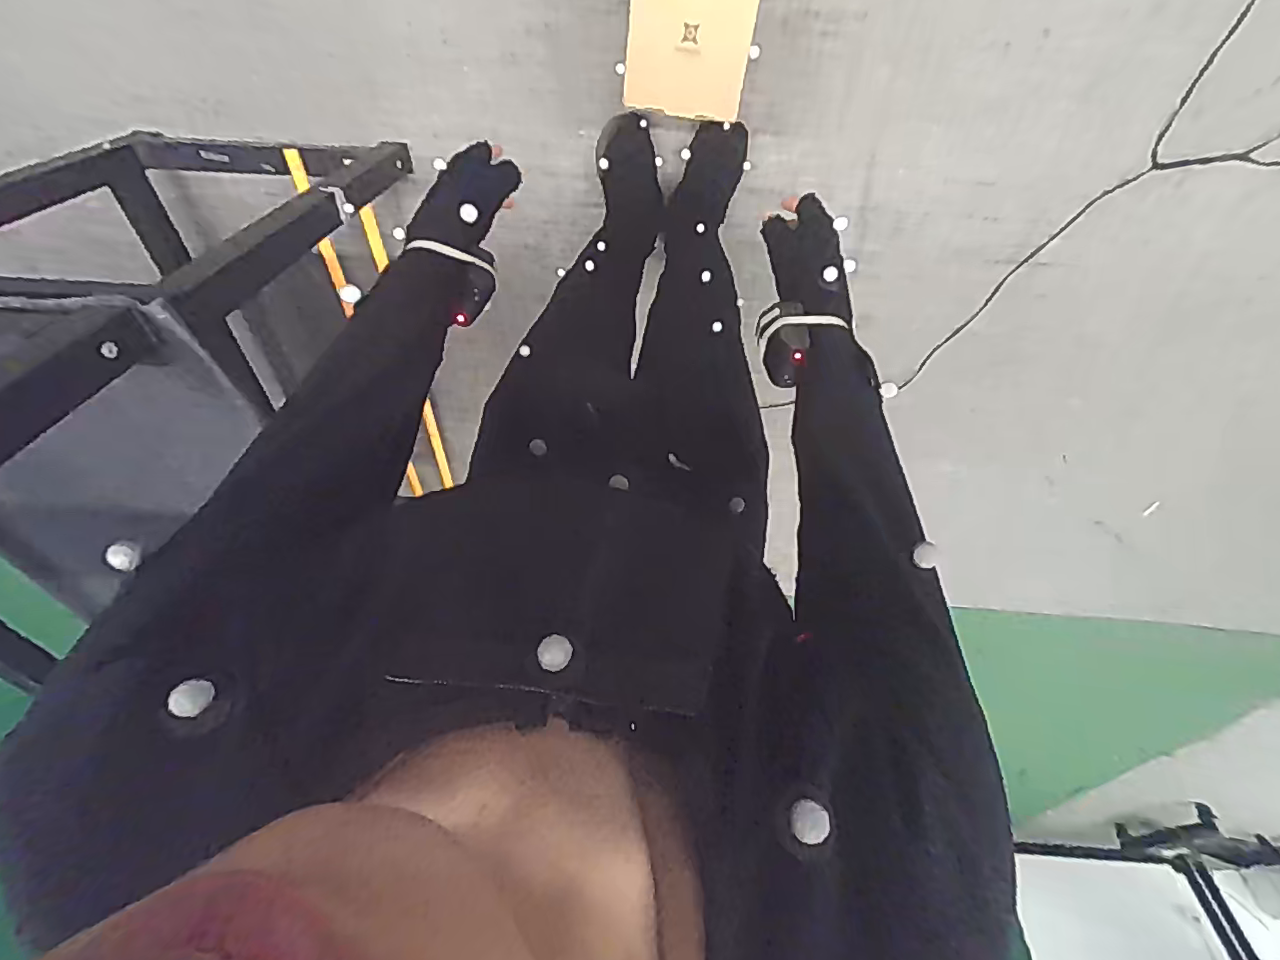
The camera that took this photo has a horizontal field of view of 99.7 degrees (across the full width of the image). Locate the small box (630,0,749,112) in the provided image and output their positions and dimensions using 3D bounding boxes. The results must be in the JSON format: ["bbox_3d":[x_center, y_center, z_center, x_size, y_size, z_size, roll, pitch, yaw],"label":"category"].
[{"bbox_3d":[0.080,-0.747,0.903,0.168,0.176,0.179,8,134,-2],"label":"small box"}]
